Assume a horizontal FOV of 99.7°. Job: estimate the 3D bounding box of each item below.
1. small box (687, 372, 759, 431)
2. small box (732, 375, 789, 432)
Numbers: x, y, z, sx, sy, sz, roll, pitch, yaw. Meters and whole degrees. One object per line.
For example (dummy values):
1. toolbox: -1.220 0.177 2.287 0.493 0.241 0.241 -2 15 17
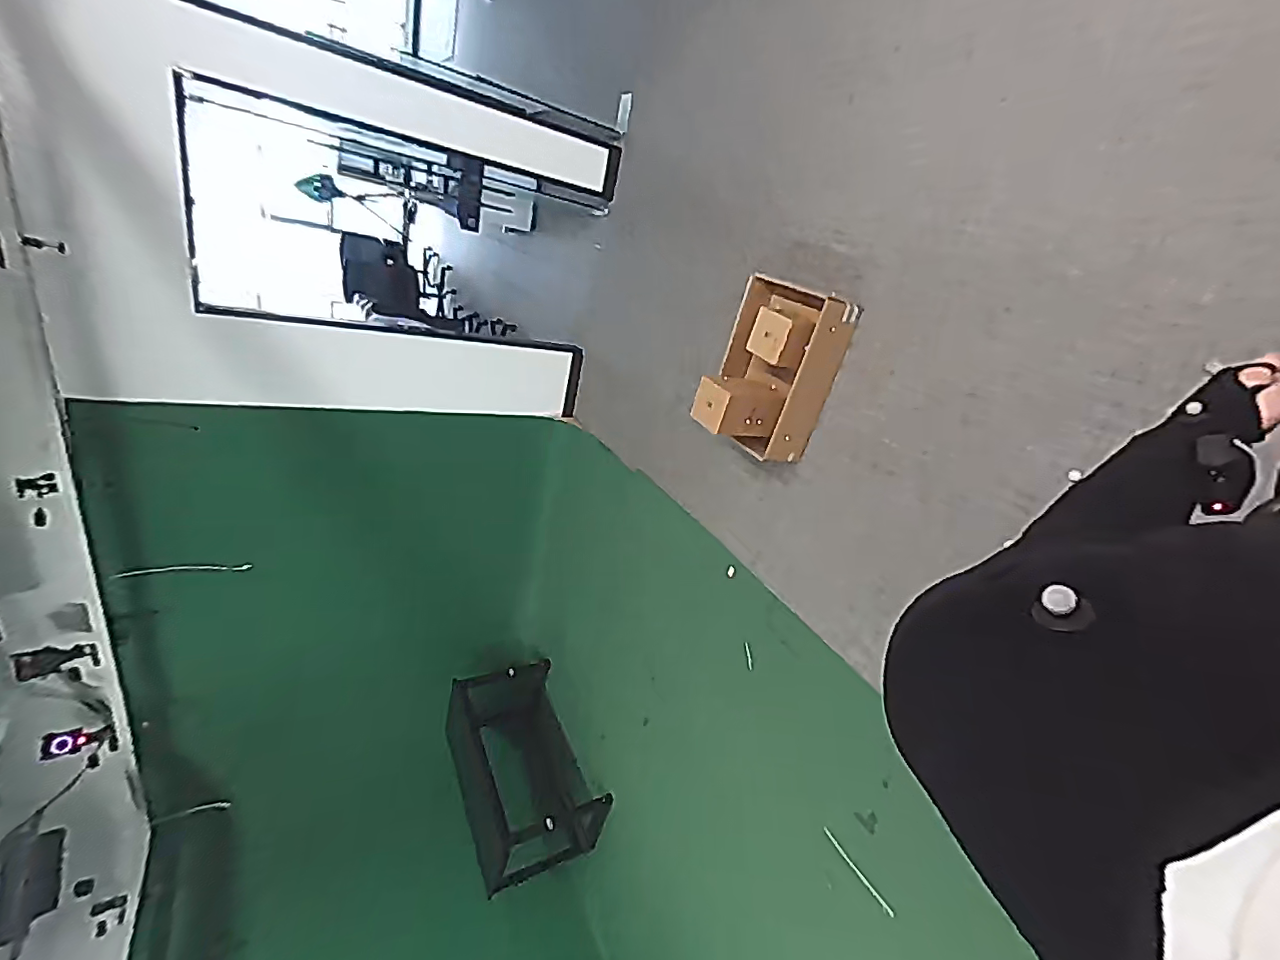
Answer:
1. small box: 0.311 -0.287 2.021 0.179 0.176 0.168 46 129 45
2. small box: 0.446 -0.294 2.112 0.179 0.176 0.168 48 130 46
